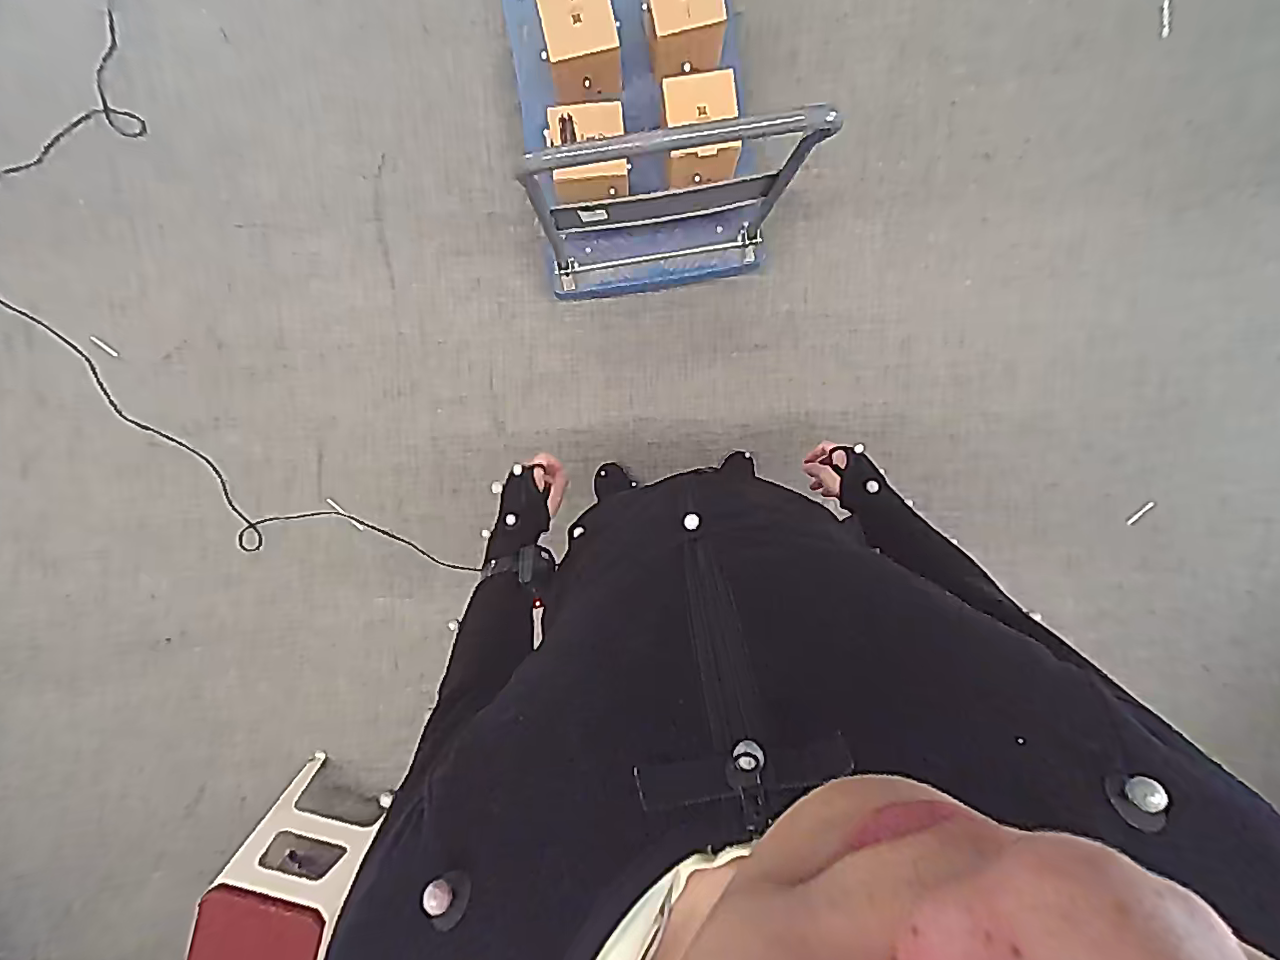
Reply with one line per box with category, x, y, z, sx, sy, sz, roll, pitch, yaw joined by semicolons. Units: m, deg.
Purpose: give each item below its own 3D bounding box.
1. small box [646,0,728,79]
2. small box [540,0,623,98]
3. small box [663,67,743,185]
small box;0.108;-1.130;1.313;0.168;0.176;0.179;-12;95;3
small box;-0.138;-1.075;1.321;0.168;0.176;0.179;-12;94;1
small box;0.149;-0.864;1.332;0.168;0.176;0.179;-8;94;1
